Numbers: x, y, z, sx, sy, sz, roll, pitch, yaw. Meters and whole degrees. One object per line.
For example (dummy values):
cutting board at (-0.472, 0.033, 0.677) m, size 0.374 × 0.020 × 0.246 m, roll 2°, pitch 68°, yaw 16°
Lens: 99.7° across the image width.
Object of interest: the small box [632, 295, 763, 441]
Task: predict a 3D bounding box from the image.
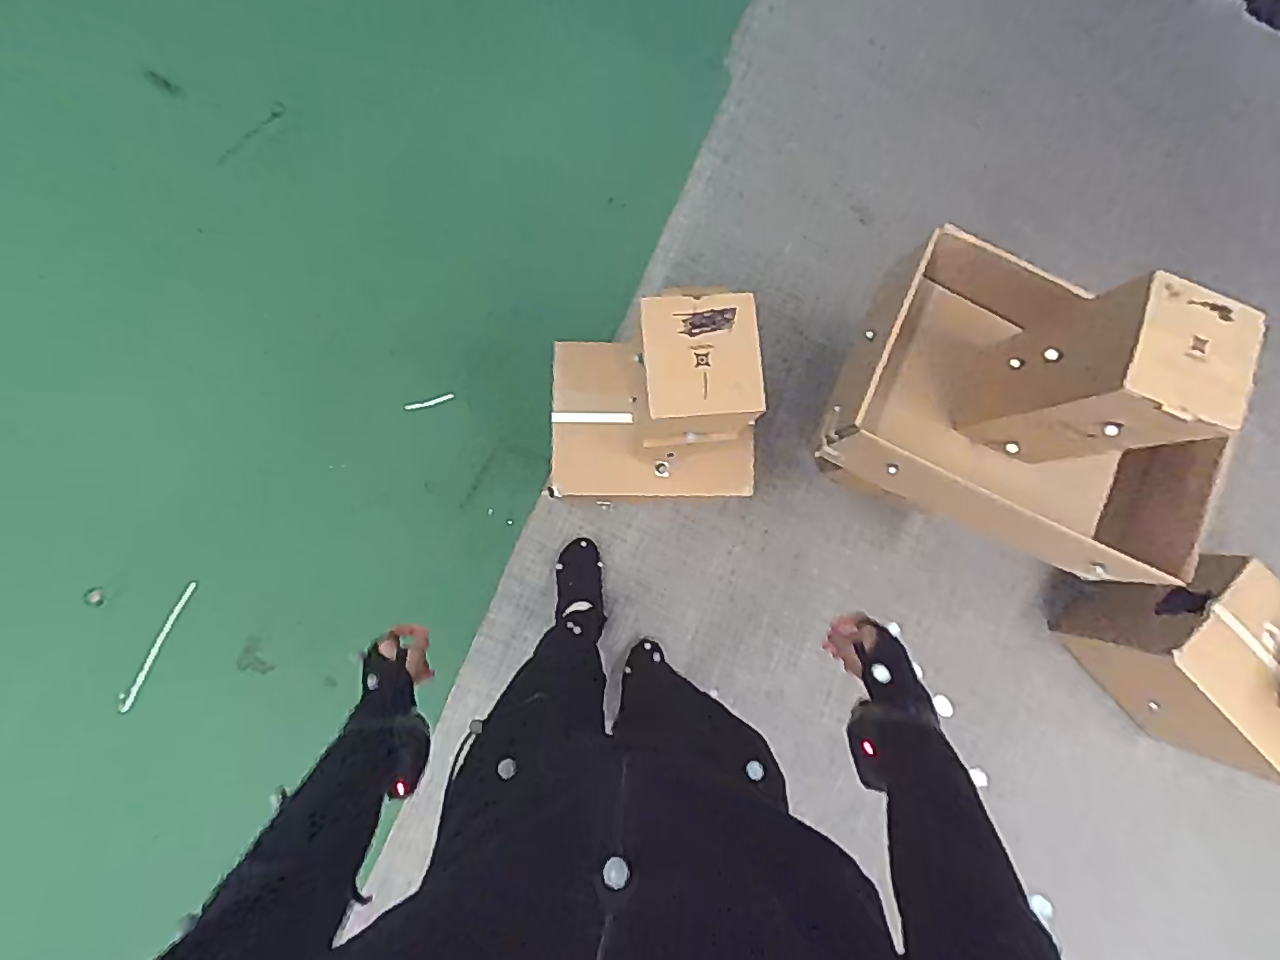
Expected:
small box at (0.079, -0.165, 0.837) m, size 0.168 × 0.176 × 0.179 m, roll -4°, pitch 84°, yaw -5°

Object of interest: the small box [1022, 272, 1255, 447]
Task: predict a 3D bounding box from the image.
small box at (0.706, -0.161, 0.787) m, size 0.168 × 0.176 × 0.179 m, roll 21°, pitch 84°, yaw -3°

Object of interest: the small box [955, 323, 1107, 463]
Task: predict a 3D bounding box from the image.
small box at (0.696, -0.146, 0.950) m, size 0.168 × 0.176 × 0.179 m, roll 23°, pitch 84°, yaw -2°
